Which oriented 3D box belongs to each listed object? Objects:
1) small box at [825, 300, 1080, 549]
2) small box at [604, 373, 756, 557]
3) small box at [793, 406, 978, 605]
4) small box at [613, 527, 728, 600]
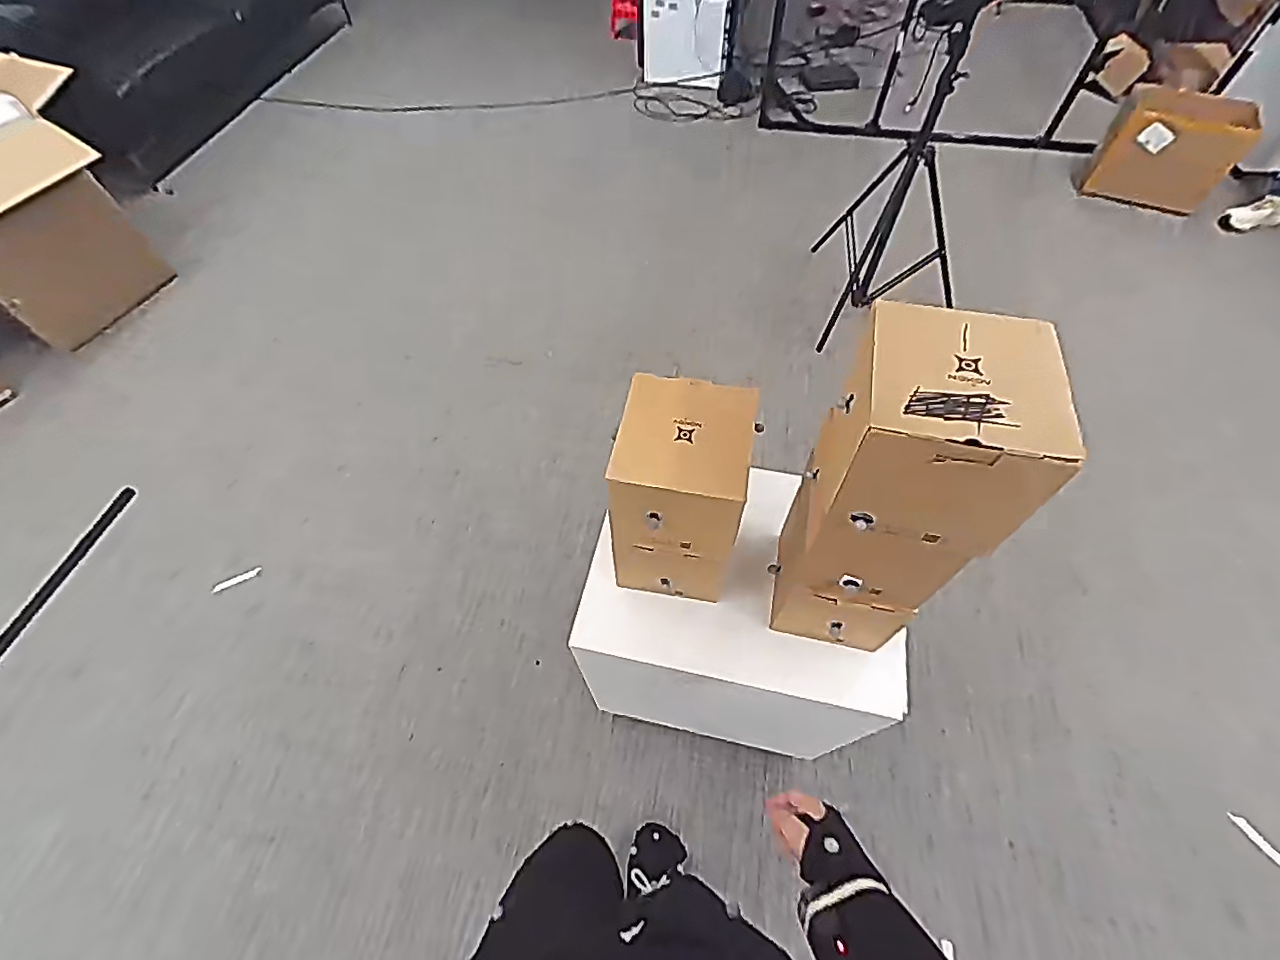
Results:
[{"bbox_3d":[0.293,-0.052,0.549,0.168,0.176,0.179,11,56,10],"label":"small box"},{"bbox_3d":[0.056,-0.015,0.726,0.168,0.176,0.179,9,57,6],"label":"small box"},{"bbox_3d":[0.298,0.036,0.688,0.168,0.176,0.179,10,58,10],"label":"small box"},{"bbox_3d":[0.056,0.070,0.865,0.168,0.176,0.179,8,58,6],"label":"small box"}]
